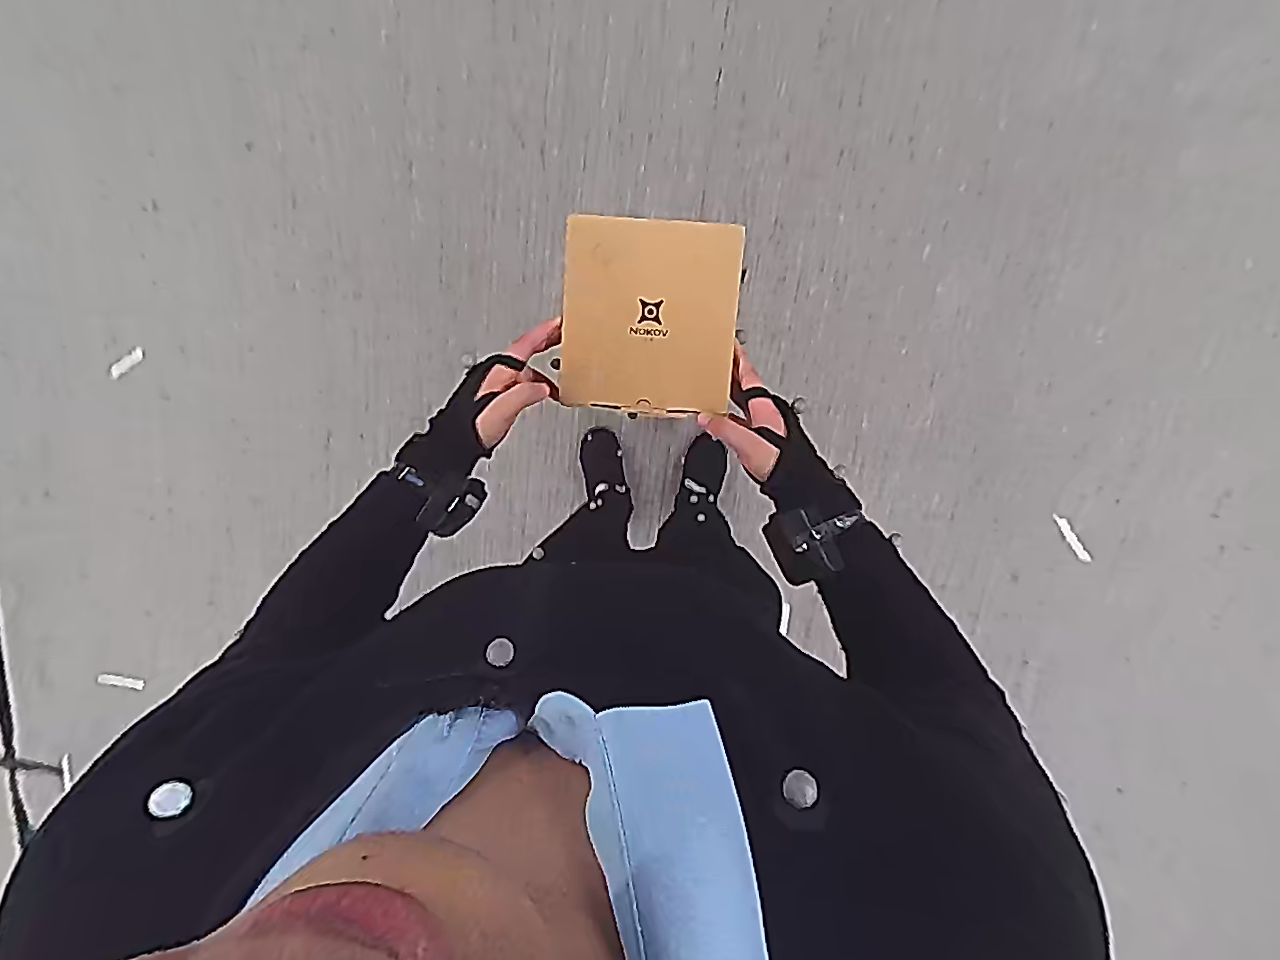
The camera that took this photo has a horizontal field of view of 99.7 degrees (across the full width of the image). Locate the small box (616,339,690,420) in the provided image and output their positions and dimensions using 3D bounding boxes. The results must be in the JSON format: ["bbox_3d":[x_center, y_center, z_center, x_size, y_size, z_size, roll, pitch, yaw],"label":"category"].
[{"bbox_3d":[0.035,-0.247,1.324,0.168,0.176,0.179,4,101,3],"label":"small box"}]
